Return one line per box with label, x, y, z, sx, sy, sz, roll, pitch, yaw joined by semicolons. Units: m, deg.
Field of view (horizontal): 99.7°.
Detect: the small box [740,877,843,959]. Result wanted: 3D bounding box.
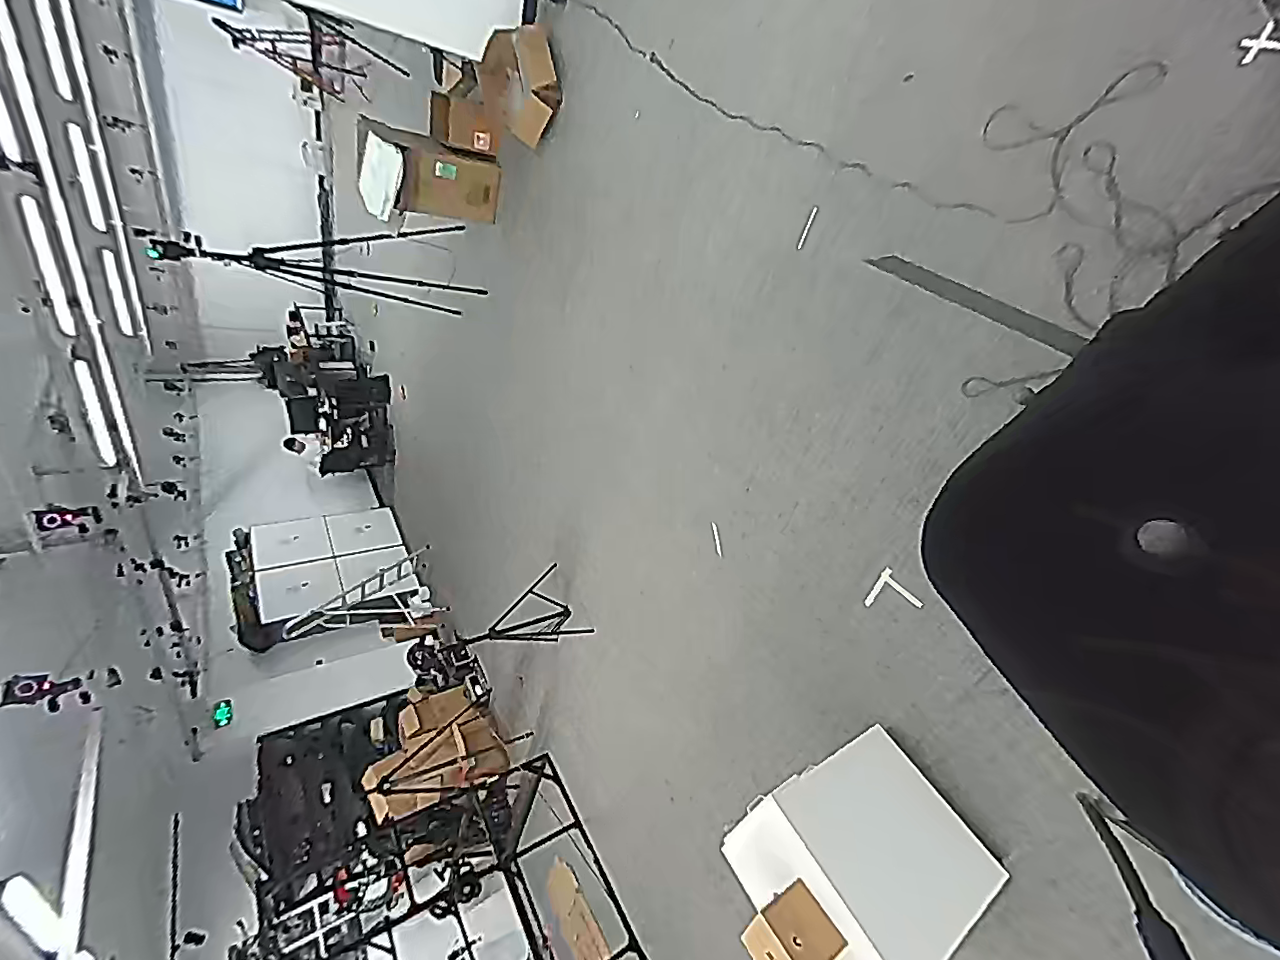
small box;0.406;1.221;1.447;0.179;0.176;0.168;45;131;41
